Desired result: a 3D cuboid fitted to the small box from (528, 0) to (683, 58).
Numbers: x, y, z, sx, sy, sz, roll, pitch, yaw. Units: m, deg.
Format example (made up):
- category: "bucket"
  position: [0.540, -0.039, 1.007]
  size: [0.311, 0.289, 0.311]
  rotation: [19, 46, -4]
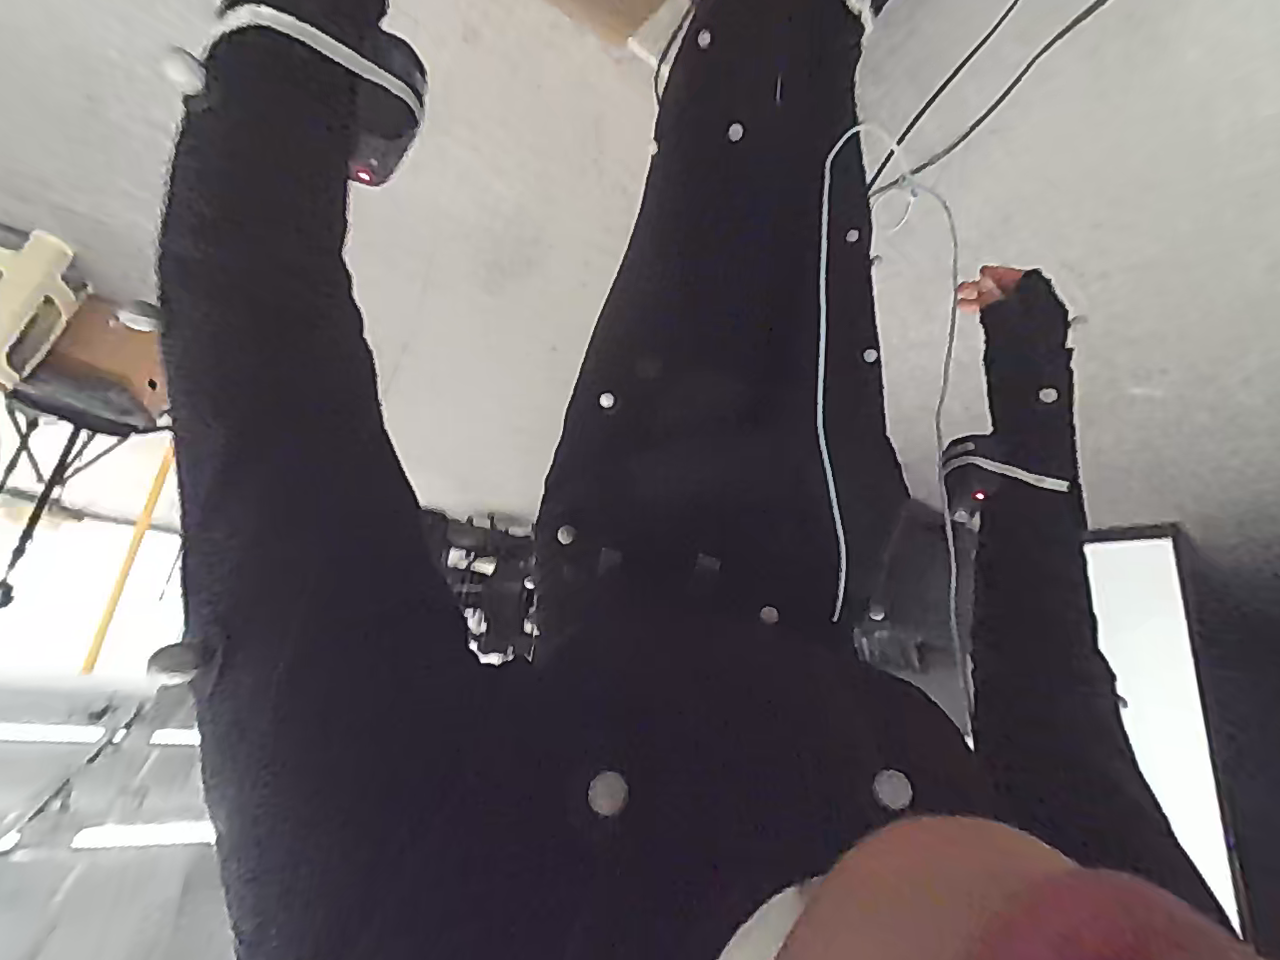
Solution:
- category: "small box"
  position: [-0.030, -0.445, 0.349]
  size: [0.179, 0.176, 0.168]
  rotation: [0, 177, -39]
